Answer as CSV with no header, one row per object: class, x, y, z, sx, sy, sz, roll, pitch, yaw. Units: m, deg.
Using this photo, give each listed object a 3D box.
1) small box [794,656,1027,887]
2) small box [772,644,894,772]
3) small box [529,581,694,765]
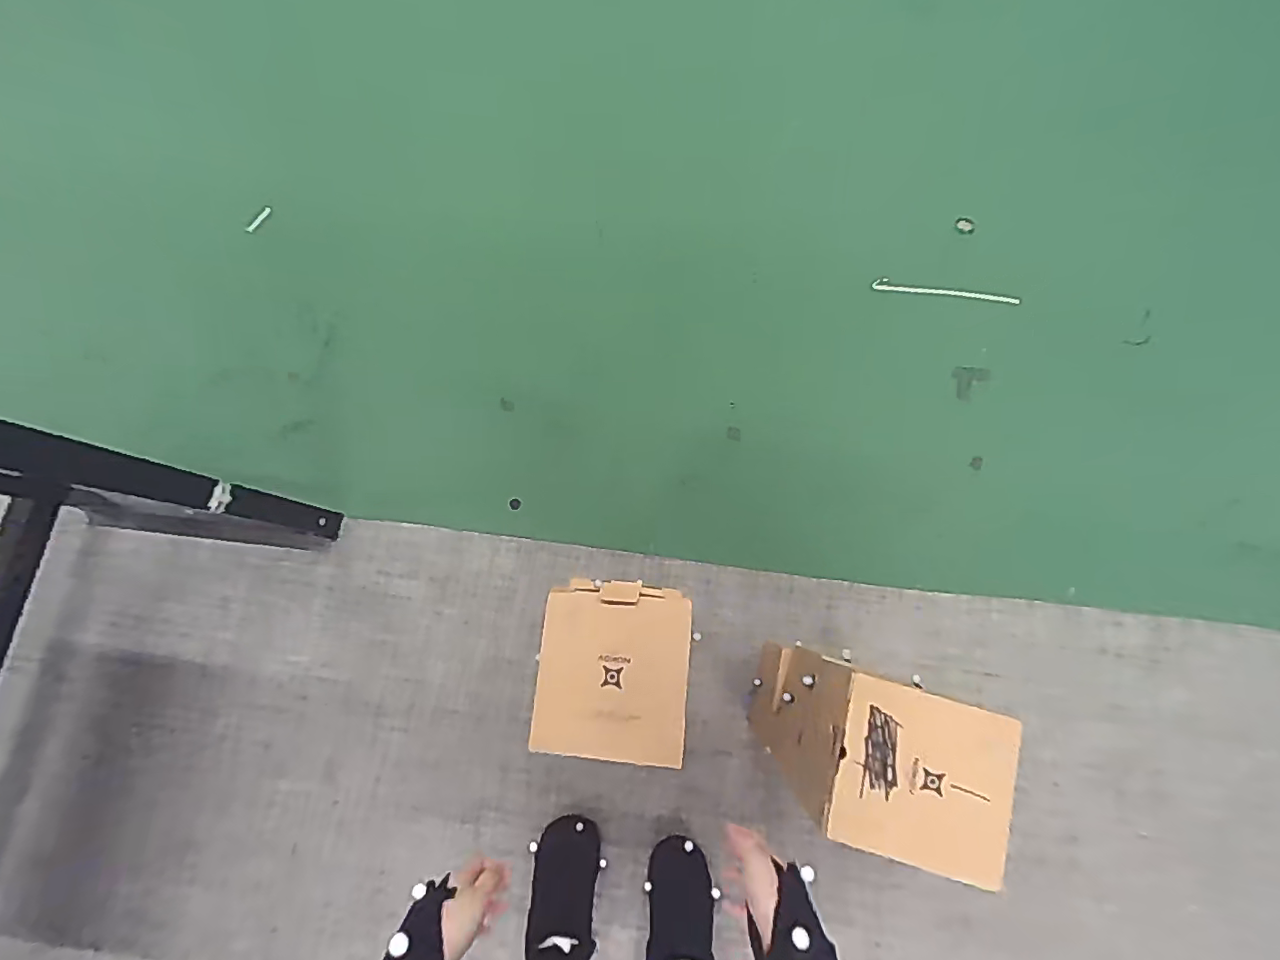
small box,0.289,0.307,0.615,0.179,0.176,0.168,15,79,5
small box,0.303,0.343,0.774,0.179,0.176,0.168,17,80,6
small box,-0.024,0.220,0.652,0.168,0.176,0.179,3,77,5
